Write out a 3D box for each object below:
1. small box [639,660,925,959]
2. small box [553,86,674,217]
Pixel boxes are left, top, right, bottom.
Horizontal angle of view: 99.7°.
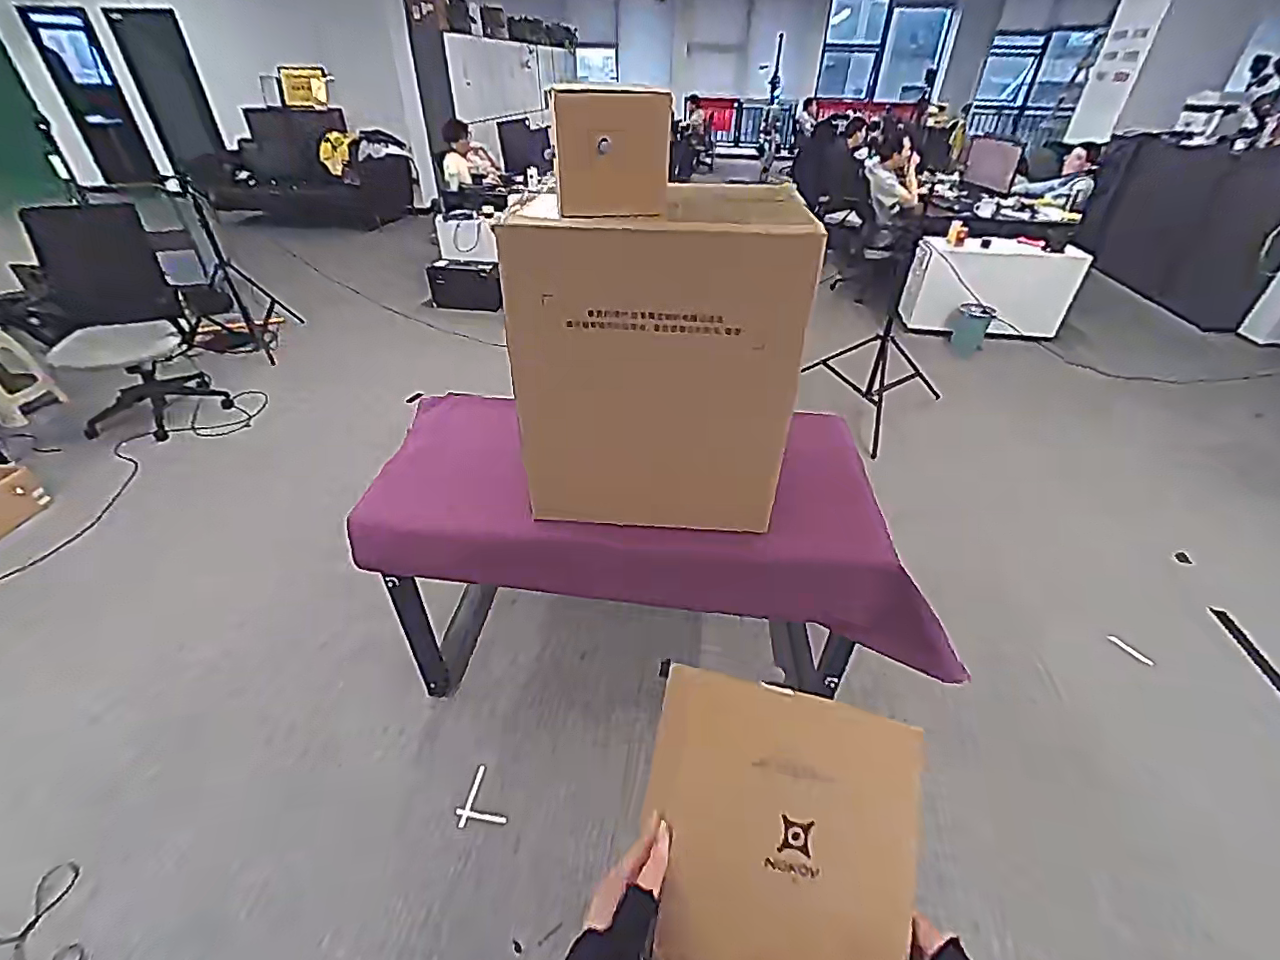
[{"bbox_3d":[0.096,0.254,0.432,0.168,0.176,0.179,13,74,-1],"label":"small box"},{"bbox_3d":[-0.045,-0.540,0.889,0.179,0.176,0.168,-6,39,-8],"label":"small box"}]
